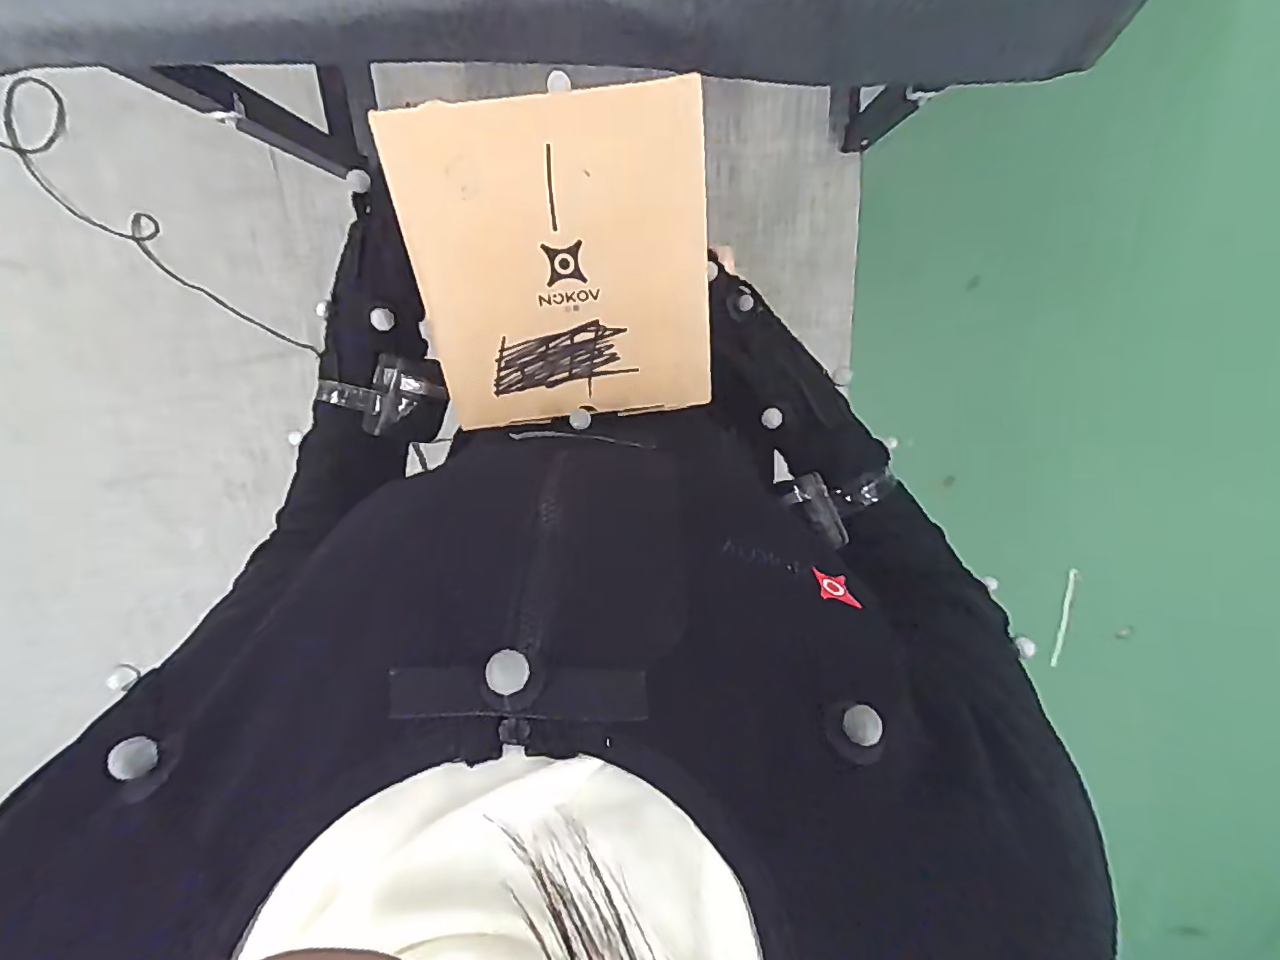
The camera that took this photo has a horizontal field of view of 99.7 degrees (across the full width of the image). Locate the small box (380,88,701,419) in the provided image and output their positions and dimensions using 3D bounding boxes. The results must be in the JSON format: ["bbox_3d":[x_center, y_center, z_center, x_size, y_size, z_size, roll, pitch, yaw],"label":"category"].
[{"bbox_3d":[-0.049,-0.162,0.384,0.168,0.176,0.179,-5,122,-1],"label":"small box"}]
